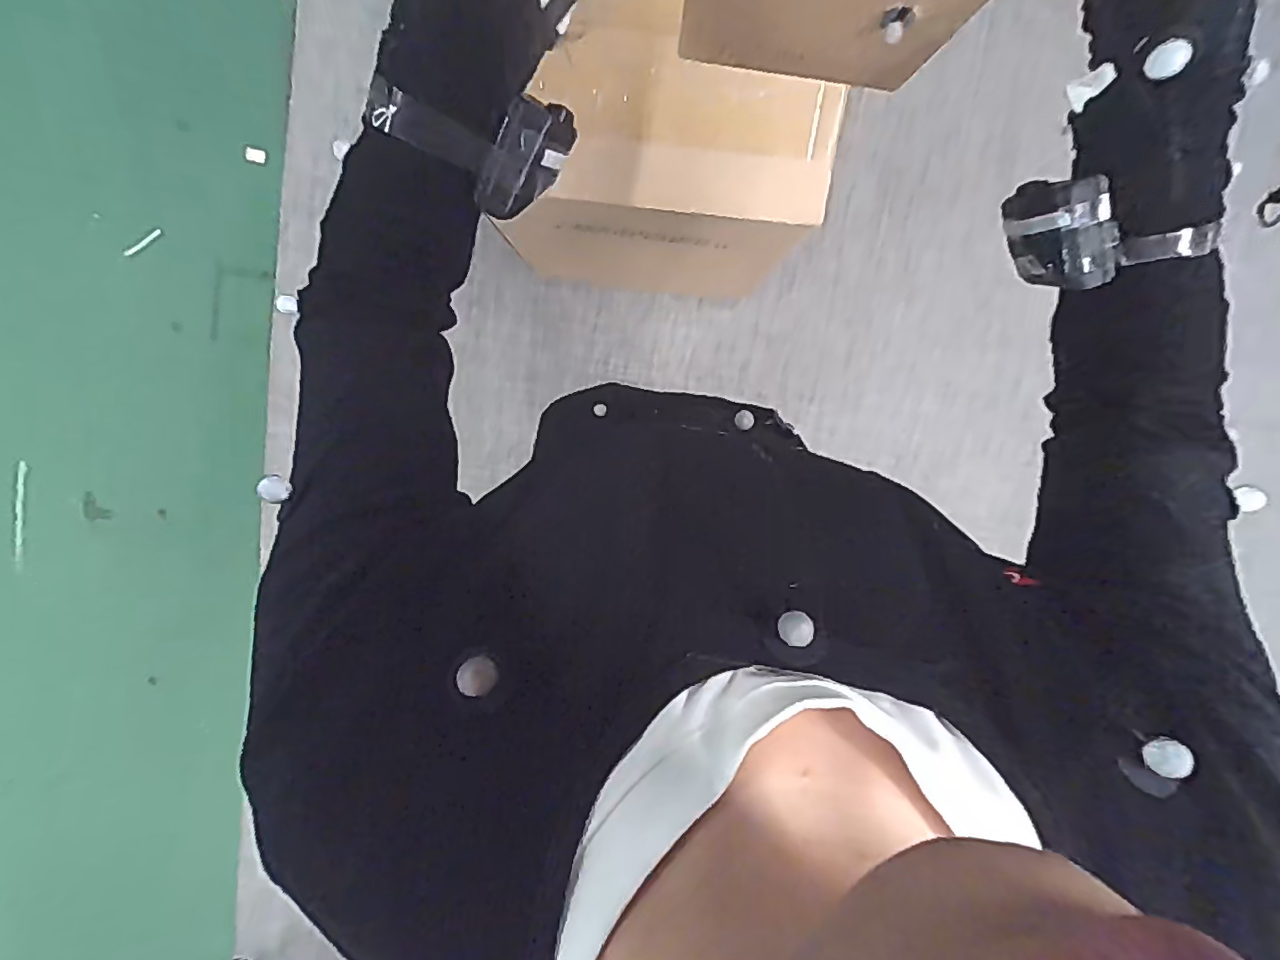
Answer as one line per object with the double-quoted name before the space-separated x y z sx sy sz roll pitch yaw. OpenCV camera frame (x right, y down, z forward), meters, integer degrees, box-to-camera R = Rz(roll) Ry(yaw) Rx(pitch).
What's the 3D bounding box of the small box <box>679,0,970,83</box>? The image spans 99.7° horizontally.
"small box" 0.123 -0.375 0.326 0.179 0.176 0.168 5 102 -1
